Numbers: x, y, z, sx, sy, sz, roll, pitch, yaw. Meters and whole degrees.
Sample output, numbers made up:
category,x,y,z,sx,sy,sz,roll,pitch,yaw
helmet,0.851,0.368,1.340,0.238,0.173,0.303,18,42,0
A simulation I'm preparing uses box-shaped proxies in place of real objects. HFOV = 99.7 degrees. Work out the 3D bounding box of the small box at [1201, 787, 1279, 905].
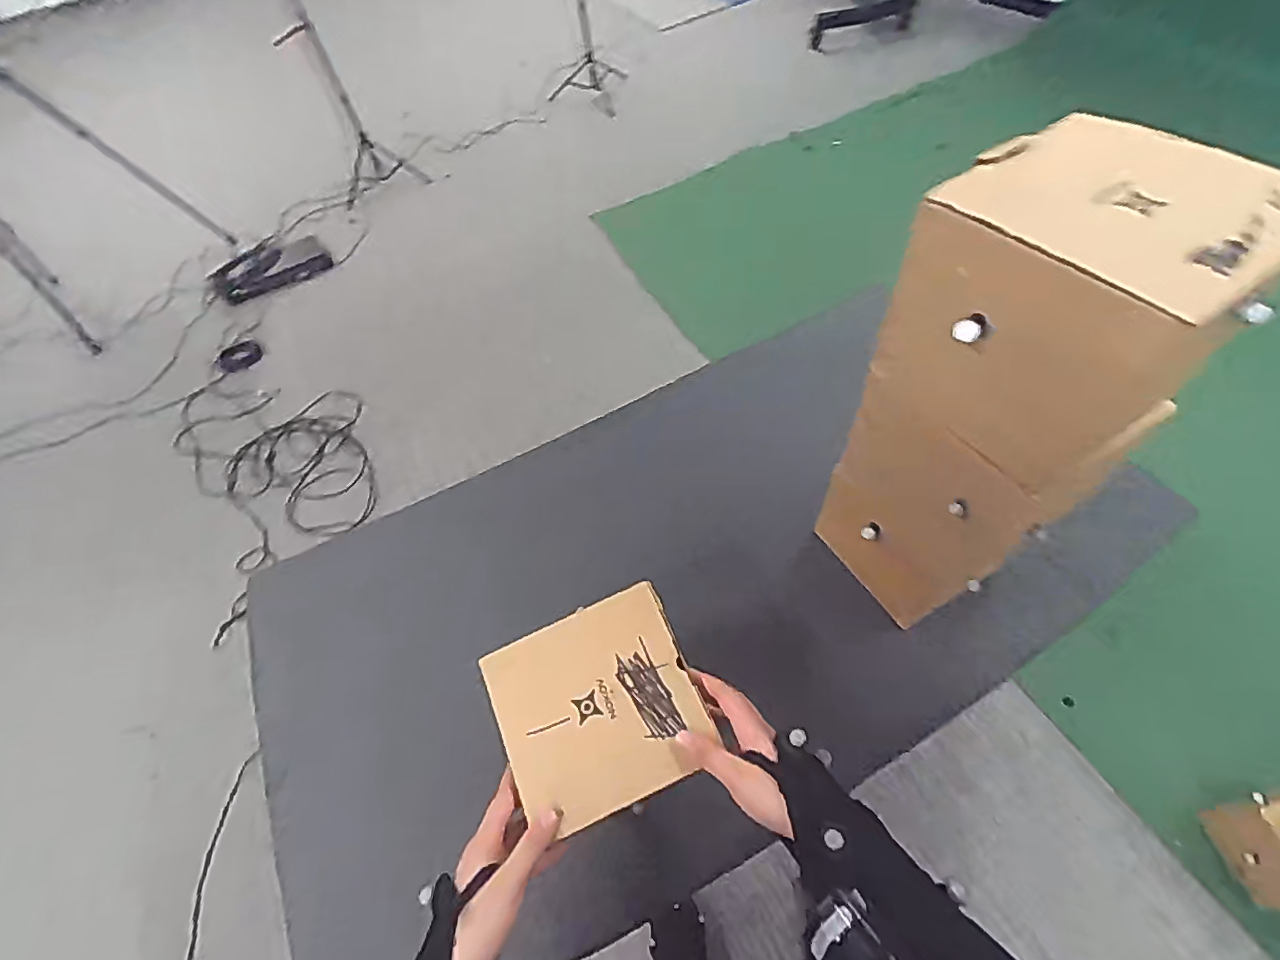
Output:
category,x,y,z,sx,sy,sz,roll,pitch,yaw
small box,1.240,0.691,1.023,0.179,0.176,0.168,-14,57,-2

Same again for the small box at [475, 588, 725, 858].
category,x,y,z,sx,sy,sz,roll,pitch,yaw
small box,-0.032,0.228,0.537,0.179,0.176,0.168,-24,67,-4

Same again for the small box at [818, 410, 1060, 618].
category,x,y,z,sx,sy,sz,roll,pitch,yaw
small box,0.349,0.051,0.673,0.168,0.176,0.179,-29,57,-11

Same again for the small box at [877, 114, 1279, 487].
category,x,y,z,sx,sy,sz,roll,pitch,yaw
small box,0.310,-0.128,0.400,0.168,0.176,0.179,-32,58,-12
